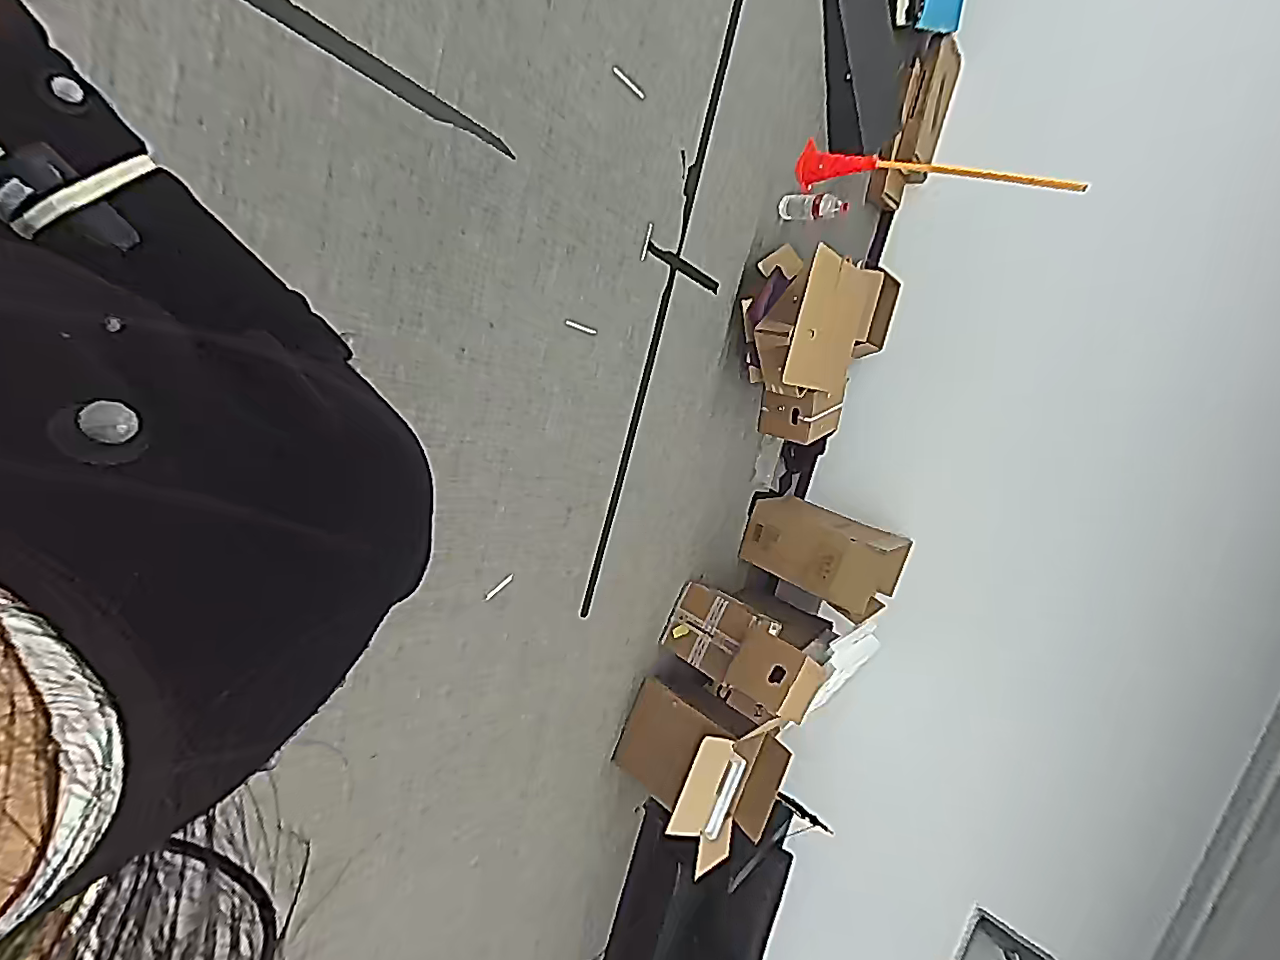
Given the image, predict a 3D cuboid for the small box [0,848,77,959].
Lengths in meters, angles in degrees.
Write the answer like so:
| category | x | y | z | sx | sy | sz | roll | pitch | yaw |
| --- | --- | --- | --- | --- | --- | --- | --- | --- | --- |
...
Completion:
| category | x | y | z | sx | sy | sz | roll | pitch | yaw |
| --- | --- | --- | --- | --- | --- | --- | --- | --- | --- |
| small box | -0.826 | 0.616 | 0.668 | 0.168 | 0.176 | 0.179 | 2 | 106 | -51 |
